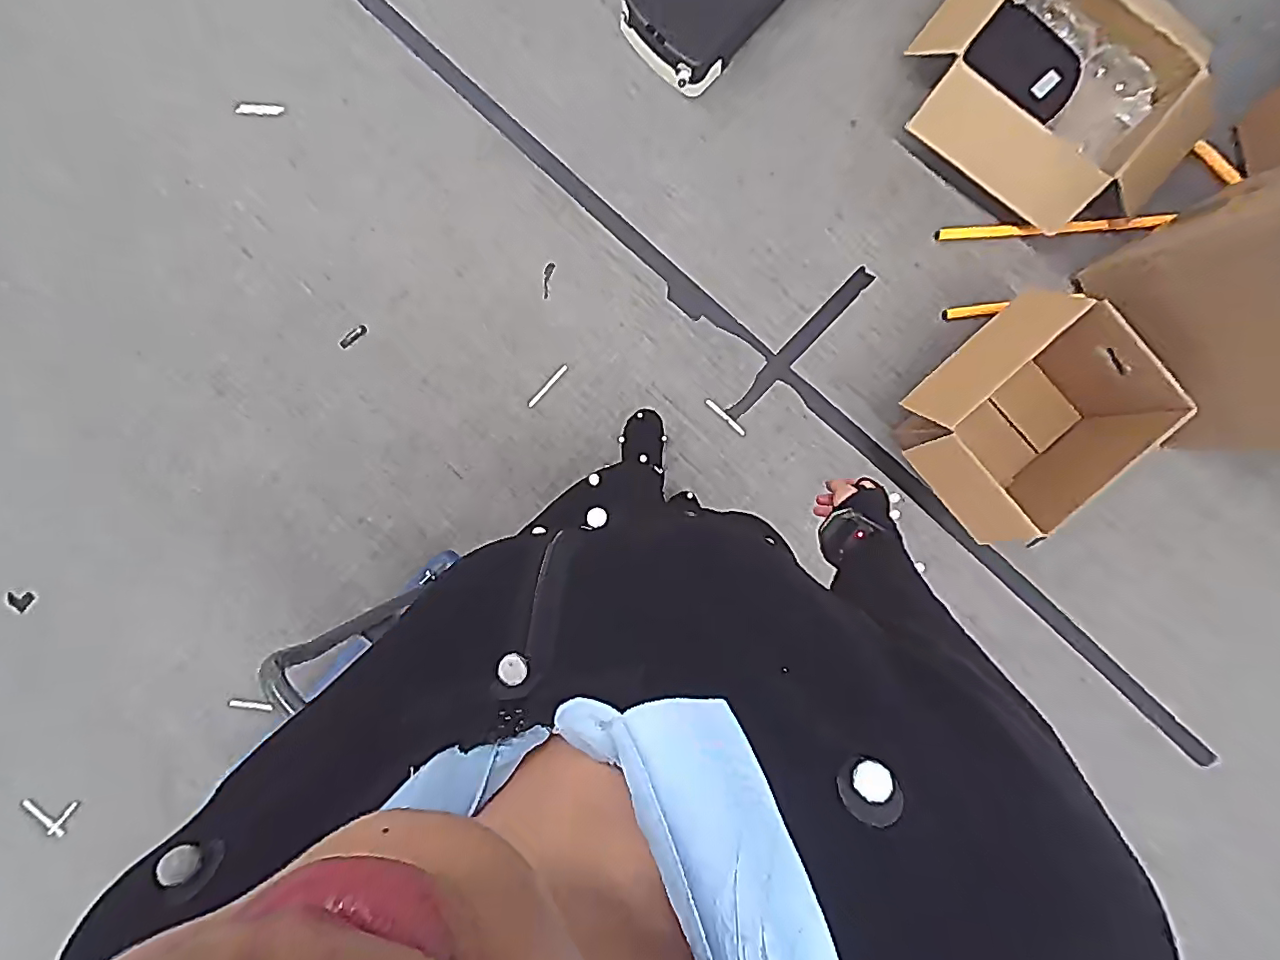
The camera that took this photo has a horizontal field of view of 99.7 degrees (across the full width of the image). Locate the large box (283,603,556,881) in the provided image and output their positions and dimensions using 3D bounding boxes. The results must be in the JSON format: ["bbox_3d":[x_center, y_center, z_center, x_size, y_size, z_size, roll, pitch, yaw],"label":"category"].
[{"bbox_3d":[-0.458,0.554,1.214,0.408,0.320,0.320,44,93,0],"label":"large box"}]
